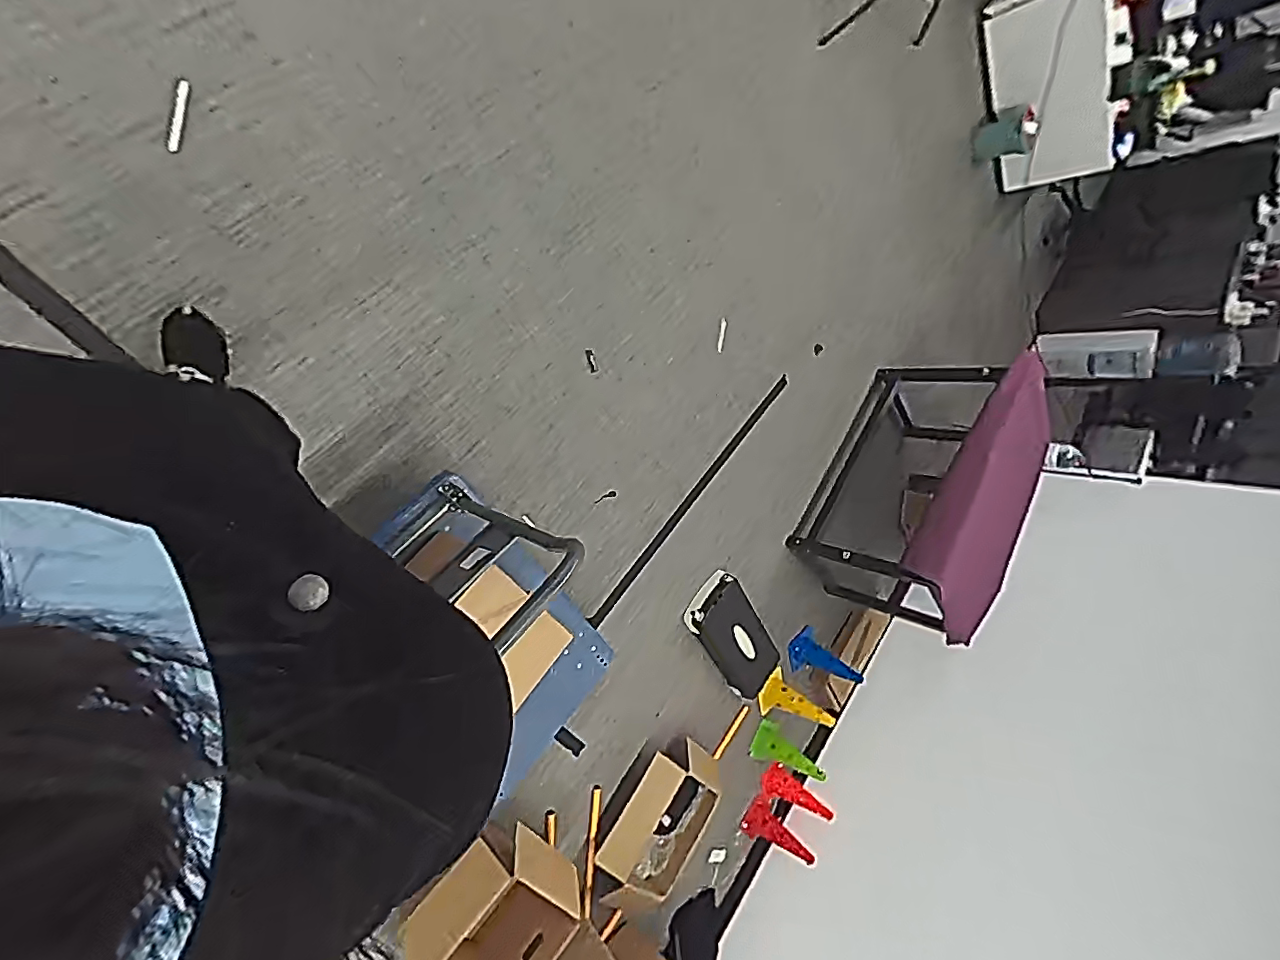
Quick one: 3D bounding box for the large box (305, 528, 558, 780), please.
[{"bbox_3d":[-0.480,0.383,1.267,0.408,0.320,0.320,-50,126,-20],"label":"large box"}]
